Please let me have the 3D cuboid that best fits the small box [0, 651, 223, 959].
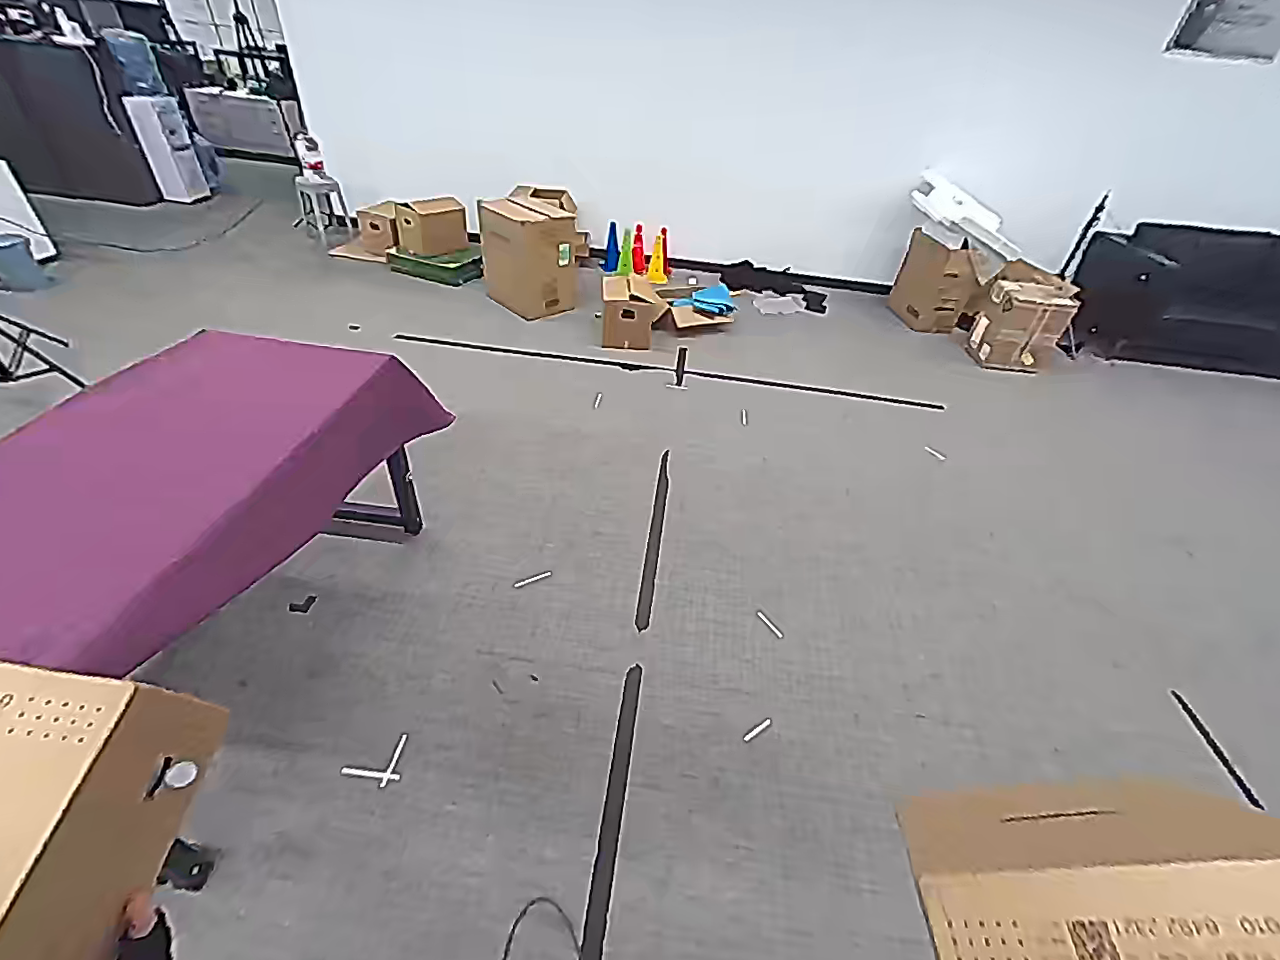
[{"bbox_3d":[-0.349,0.171,0.258,0.168,0.179,0.176,18,59,-14],"label":"small box"}]
